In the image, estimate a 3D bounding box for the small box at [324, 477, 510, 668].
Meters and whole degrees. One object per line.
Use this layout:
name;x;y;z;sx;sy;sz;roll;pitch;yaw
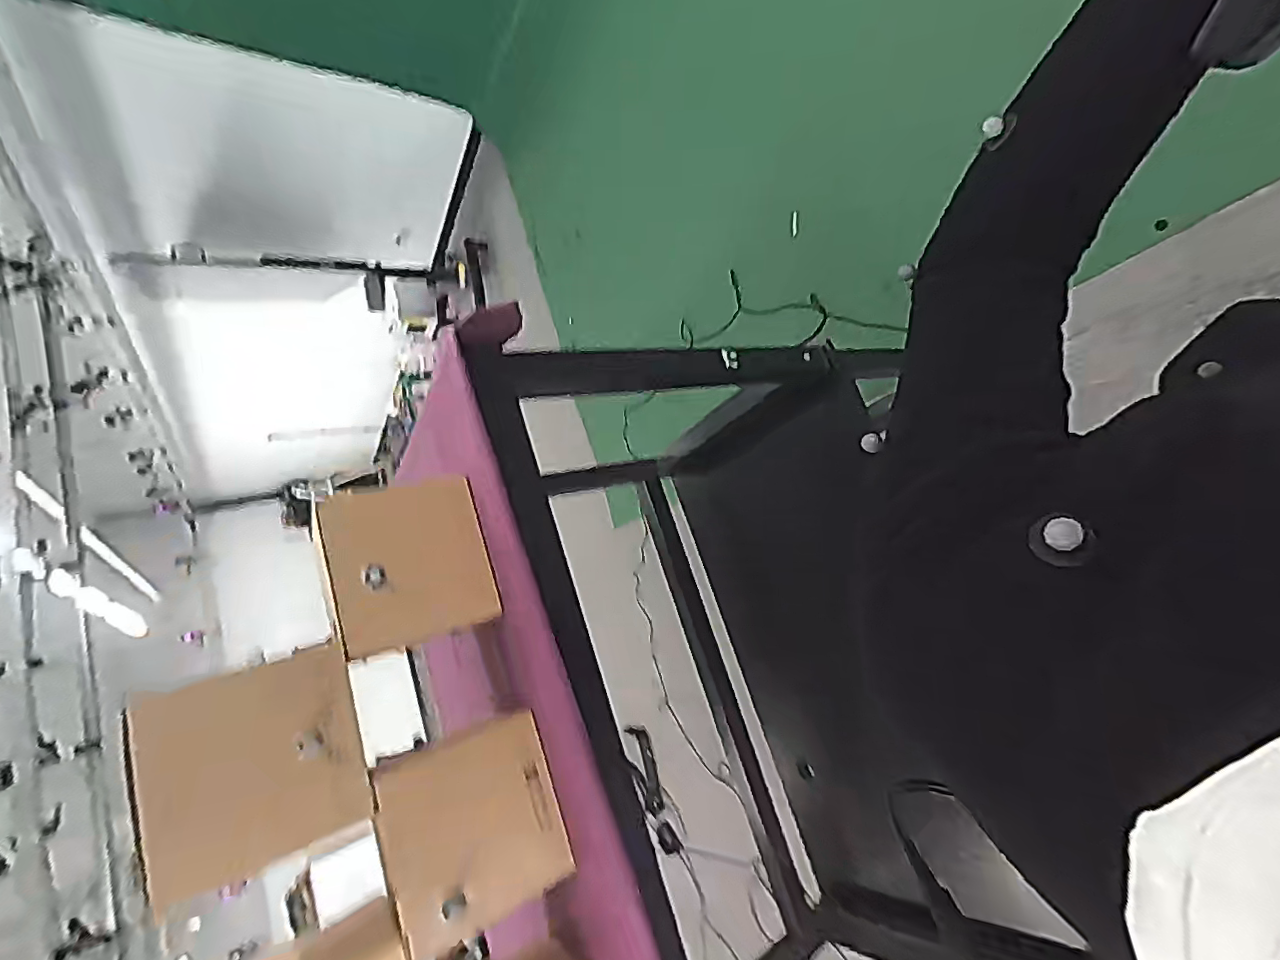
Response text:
small box;-0.276;0.113;0.666;0.168;0.176;0.179;-36;70;53

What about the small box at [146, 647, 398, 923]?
small box;-0.358;0.276;0.543;0.168;0.176;0.179;-34;71;54

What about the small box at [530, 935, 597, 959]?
small box;-0.090;0.620;0.549;0.179;0.176;0.168;-34;71;54

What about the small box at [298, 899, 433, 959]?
small box;-0.269;0.534;0.495;0.179;0.176;0.168;-37;71;54
